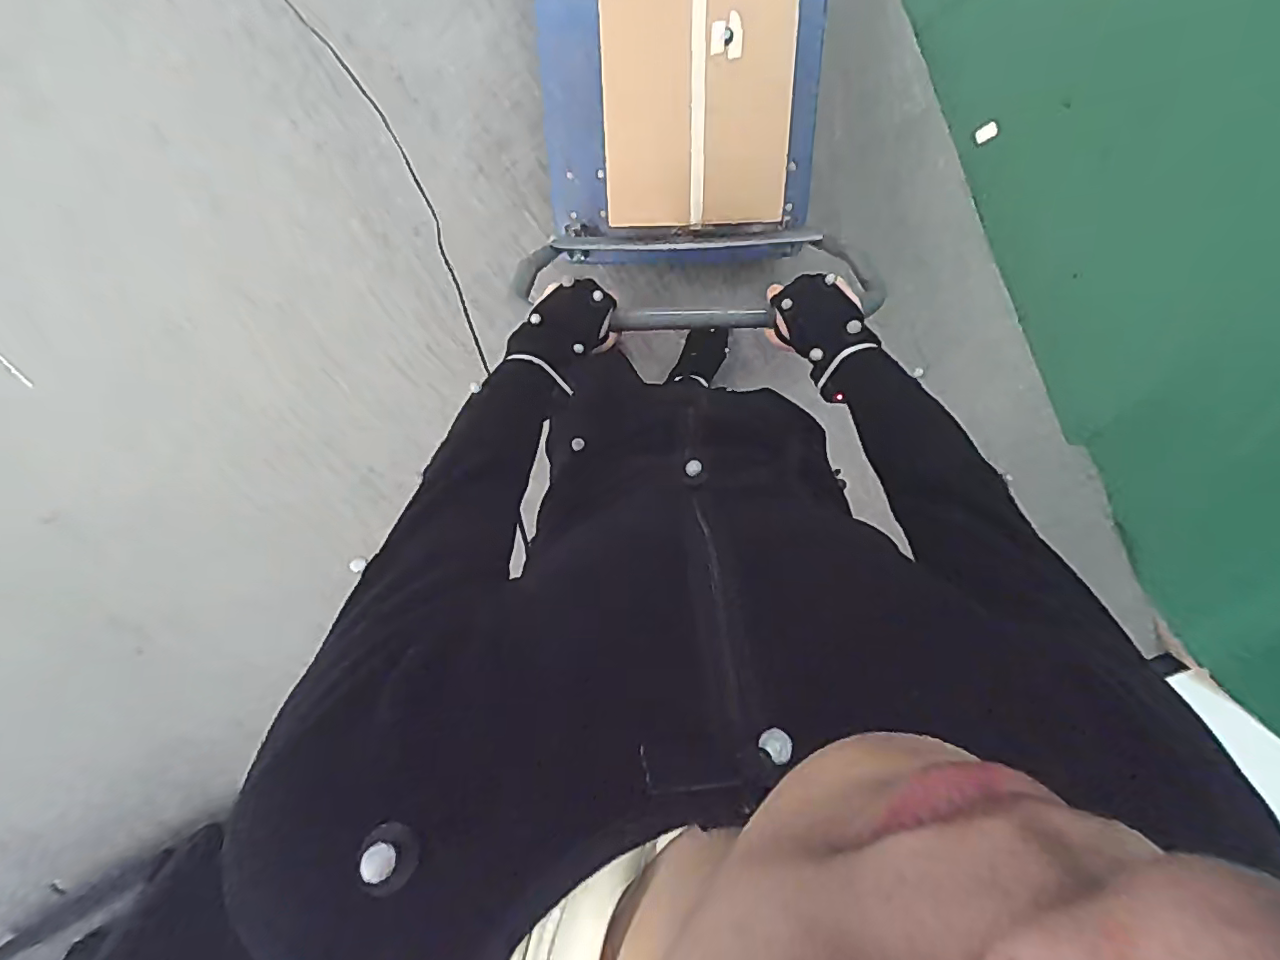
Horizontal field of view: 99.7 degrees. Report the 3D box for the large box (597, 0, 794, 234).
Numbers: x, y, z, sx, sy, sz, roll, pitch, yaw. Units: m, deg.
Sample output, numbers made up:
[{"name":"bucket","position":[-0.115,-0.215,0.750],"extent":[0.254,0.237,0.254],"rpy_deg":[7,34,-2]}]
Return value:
[{"name":"large box","position":[0.100,-0.698,1.031],"extent":[0.320,0.320,0.408],"rpy_deg":[-1,114,3]}]
